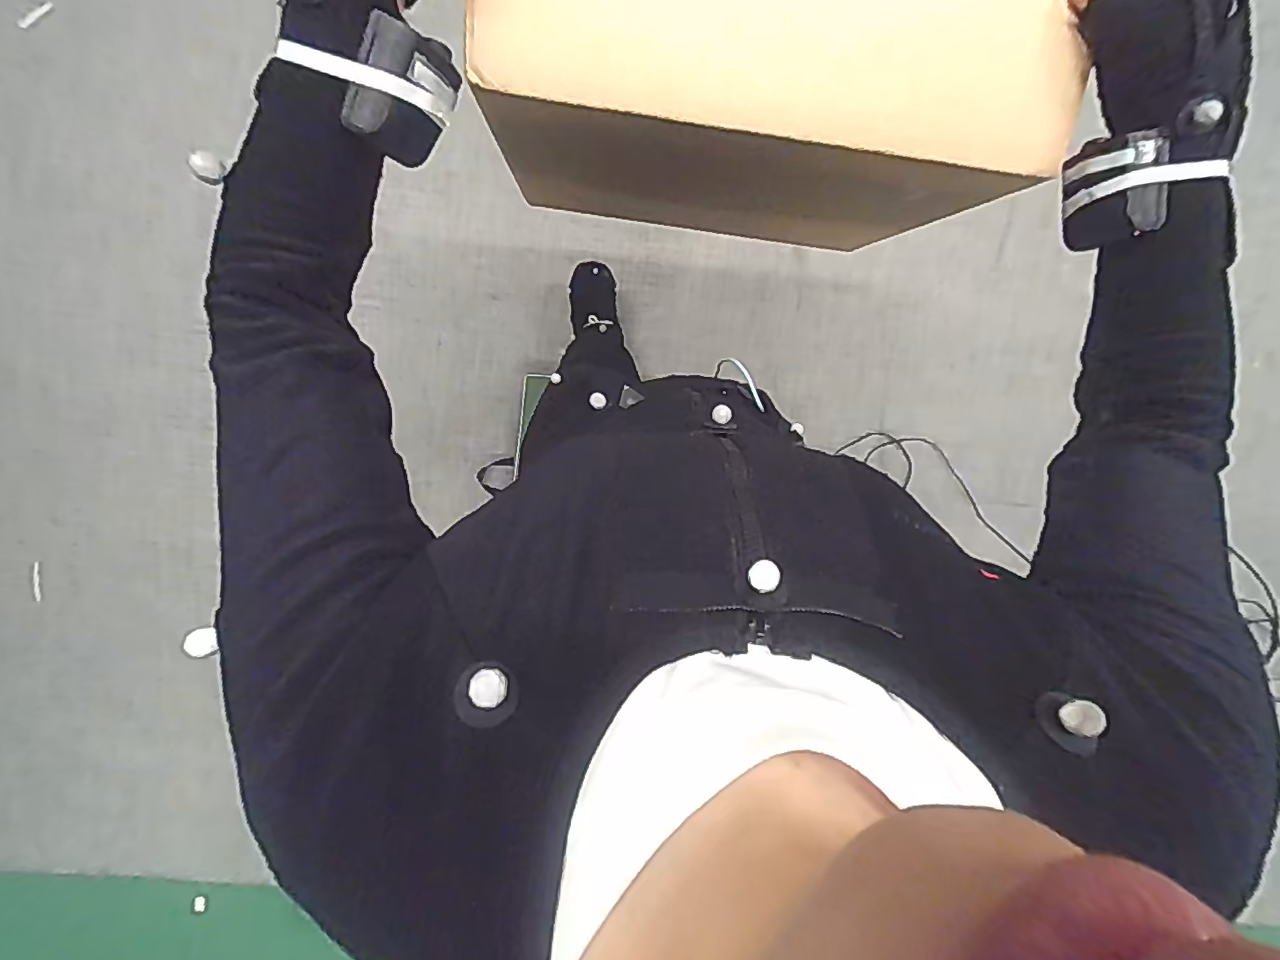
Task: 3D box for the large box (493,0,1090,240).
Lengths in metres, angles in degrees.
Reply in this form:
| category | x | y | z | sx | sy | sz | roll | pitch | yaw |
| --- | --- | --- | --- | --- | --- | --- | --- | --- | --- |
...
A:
| category | x | y | z | sx | sy | sz | roll | pitch | yaw |
| --- | --- | --- | --- | --- | --- | --- | --- | --- | --- |
| large box | 0.098 | -0.423 | 0.477 | 0.408 | 0.320 | 0.320 | 4 | 104 | -7 |
